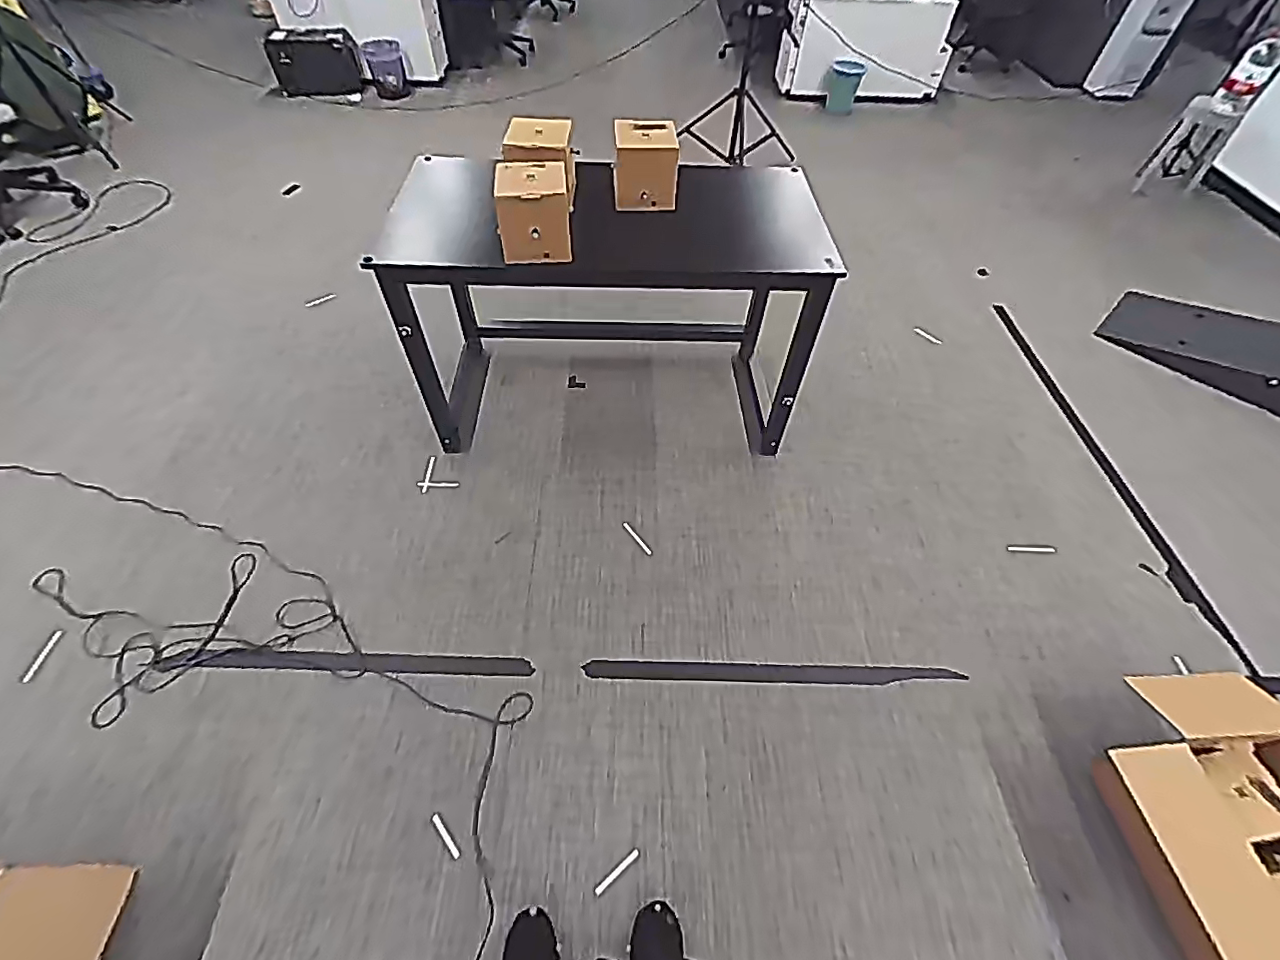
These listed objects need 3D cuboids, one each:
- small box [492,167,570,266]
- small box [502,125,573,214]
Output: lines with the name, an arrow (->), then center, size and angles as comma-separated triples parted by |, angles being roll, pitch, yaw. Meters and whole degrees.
small box -> -0.266, -0.648, 1.341 | 0.168, 0.176, 0.179 | -5, 53, -6
small box -> -0.279, -0.861, 1.508 | 0.168, 0.176, 0.179 | 1, 53, -1
